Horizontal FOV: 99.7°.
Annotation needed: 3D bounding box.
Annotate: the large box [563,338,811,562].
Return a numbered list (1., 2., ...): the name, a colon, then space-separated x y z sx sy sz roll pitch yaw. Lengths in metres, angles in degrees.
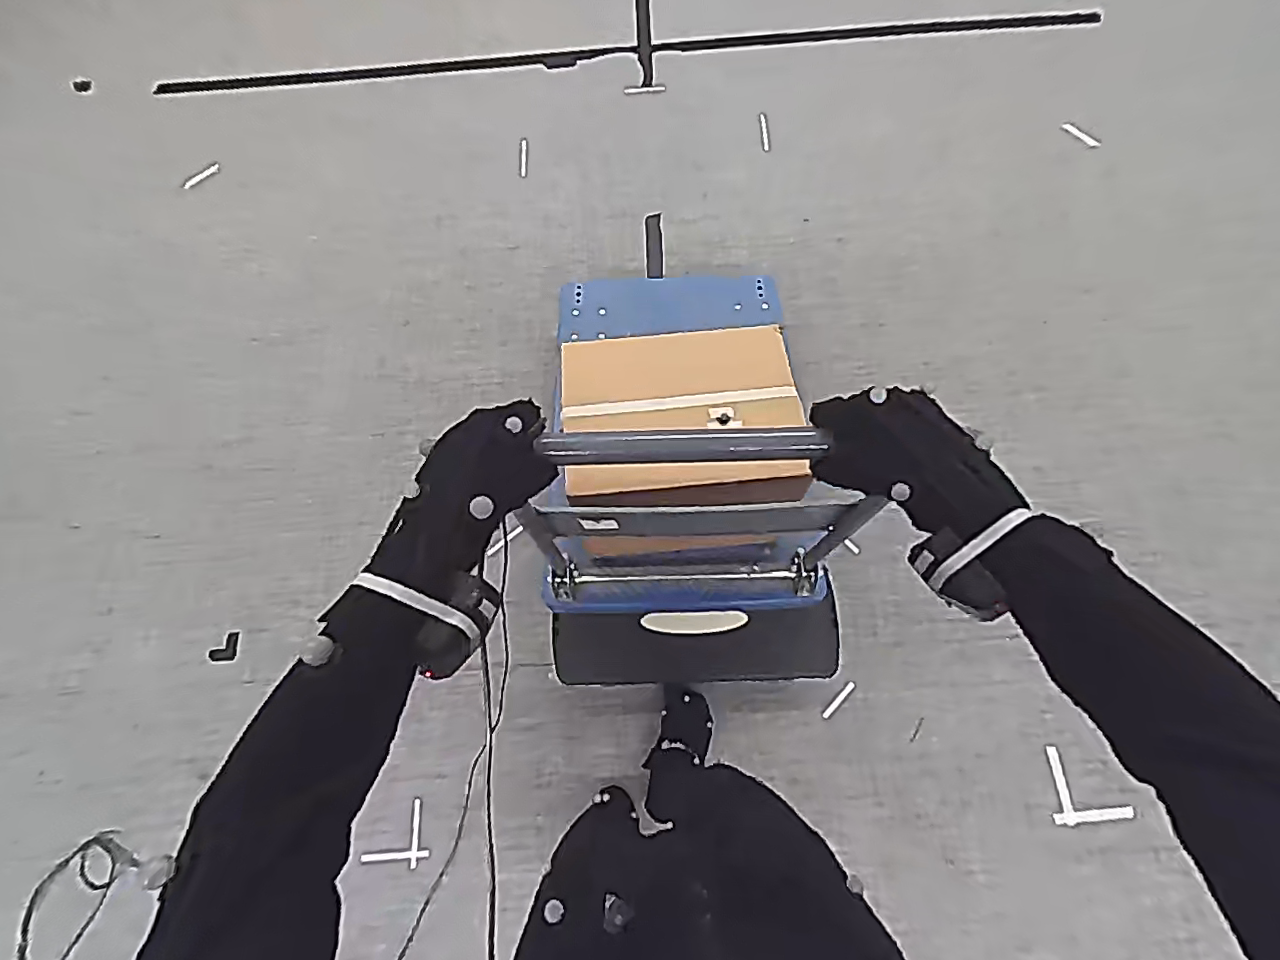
1. large box: 0.071 -0.047 1.076 0.408 0.320 0.320 -5 64 -2
